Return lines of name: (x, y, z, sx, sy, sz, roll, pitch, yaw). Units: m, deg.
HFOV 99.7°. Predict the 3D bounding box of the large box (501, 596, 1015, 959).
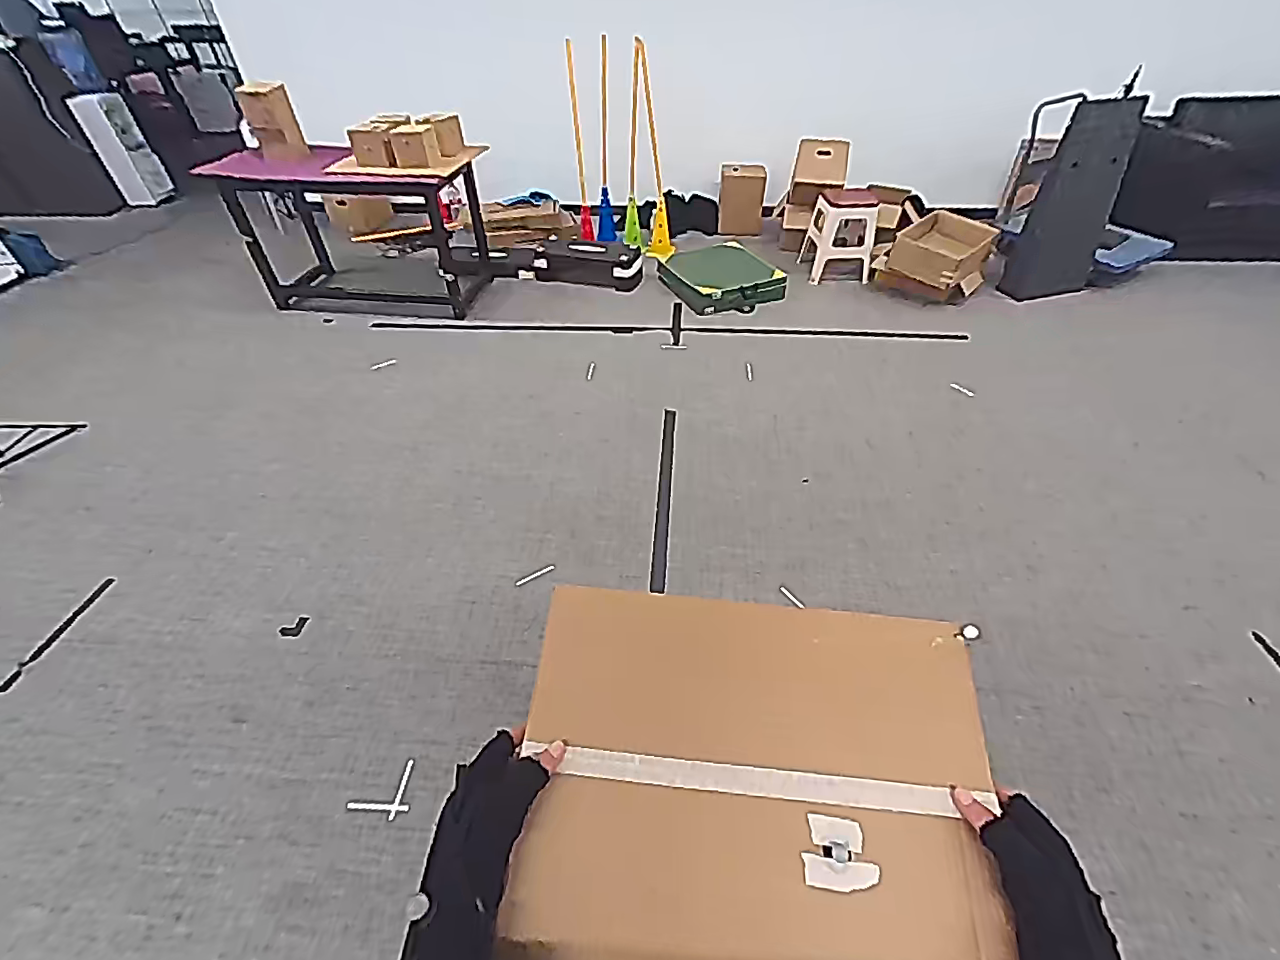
large box: (0.102, 0.342, 0.606, 0.408, 0.320, 0.320, 5, 60, 4)
